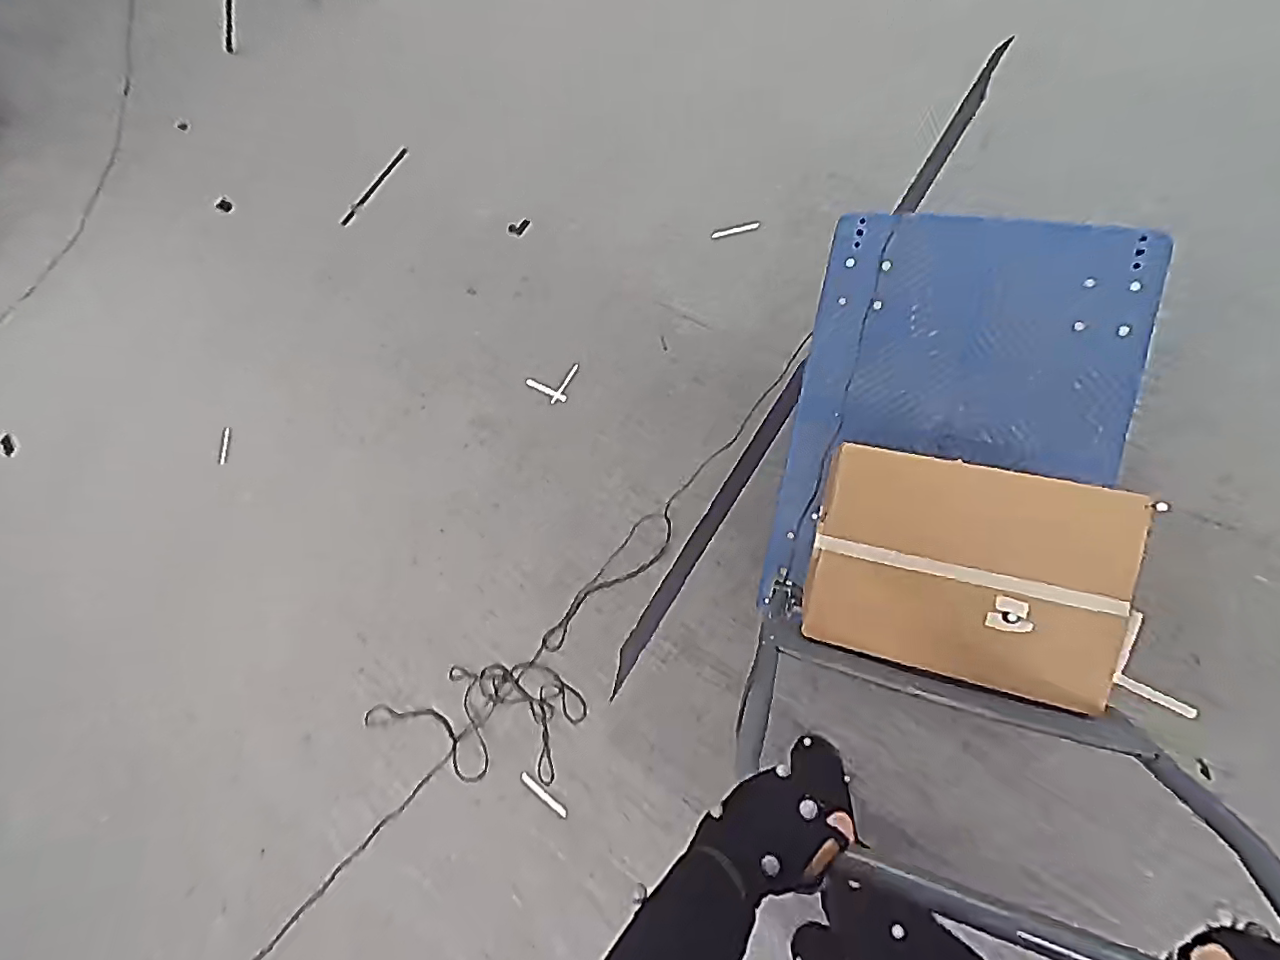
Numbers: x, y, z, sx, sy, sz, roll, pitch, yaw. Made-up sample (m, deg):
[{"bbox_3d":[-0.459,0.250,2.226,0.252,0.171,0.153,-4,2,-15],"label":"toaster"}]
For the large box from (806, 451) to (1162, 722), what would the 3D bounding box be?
[{"bbox_3d":[0.512,0.142,0.913,0.408,0.320,0.320,12,94,16],"label":"large box"}]
